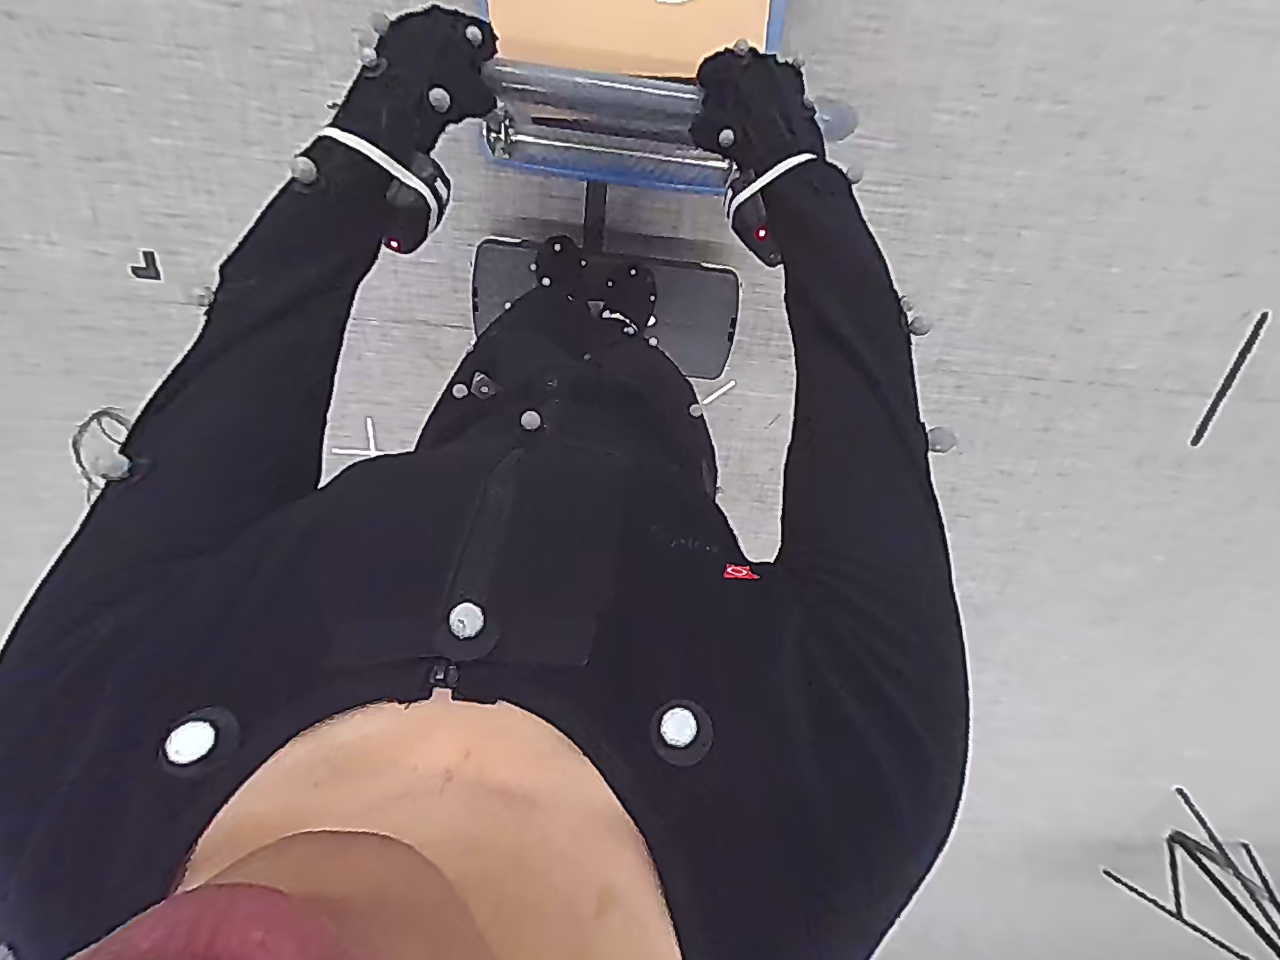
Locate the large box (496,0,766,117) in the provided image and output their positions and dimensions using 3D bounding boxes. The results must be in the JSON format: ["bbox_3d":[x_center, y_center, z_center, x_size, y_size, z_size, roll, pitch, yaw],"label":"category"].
[{"bbox_3d":[-0.019,-0.821,0.900,0.408,0.320,0.320,0,114,-3],"label":"large box"}]
